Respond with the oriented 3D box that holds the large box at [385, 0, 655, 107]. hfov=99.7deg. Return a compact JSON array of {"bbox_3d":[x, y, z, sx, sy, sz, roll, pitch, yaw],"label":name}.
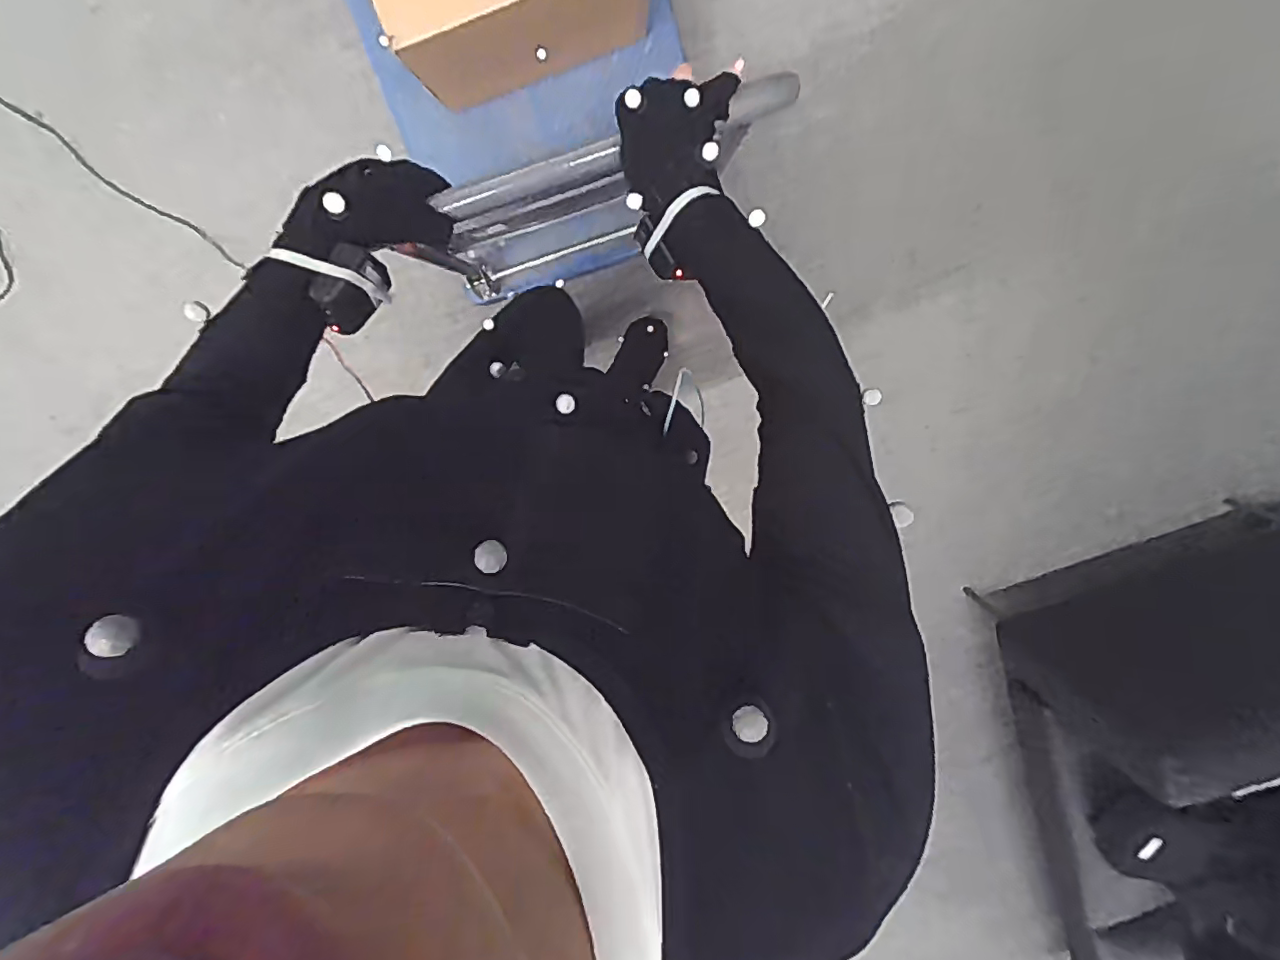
[{"bbox_3d":[-0.208,-0.873,0.859,0.408,0.320,0.320,-19,110,5],"label":"large box"}]
